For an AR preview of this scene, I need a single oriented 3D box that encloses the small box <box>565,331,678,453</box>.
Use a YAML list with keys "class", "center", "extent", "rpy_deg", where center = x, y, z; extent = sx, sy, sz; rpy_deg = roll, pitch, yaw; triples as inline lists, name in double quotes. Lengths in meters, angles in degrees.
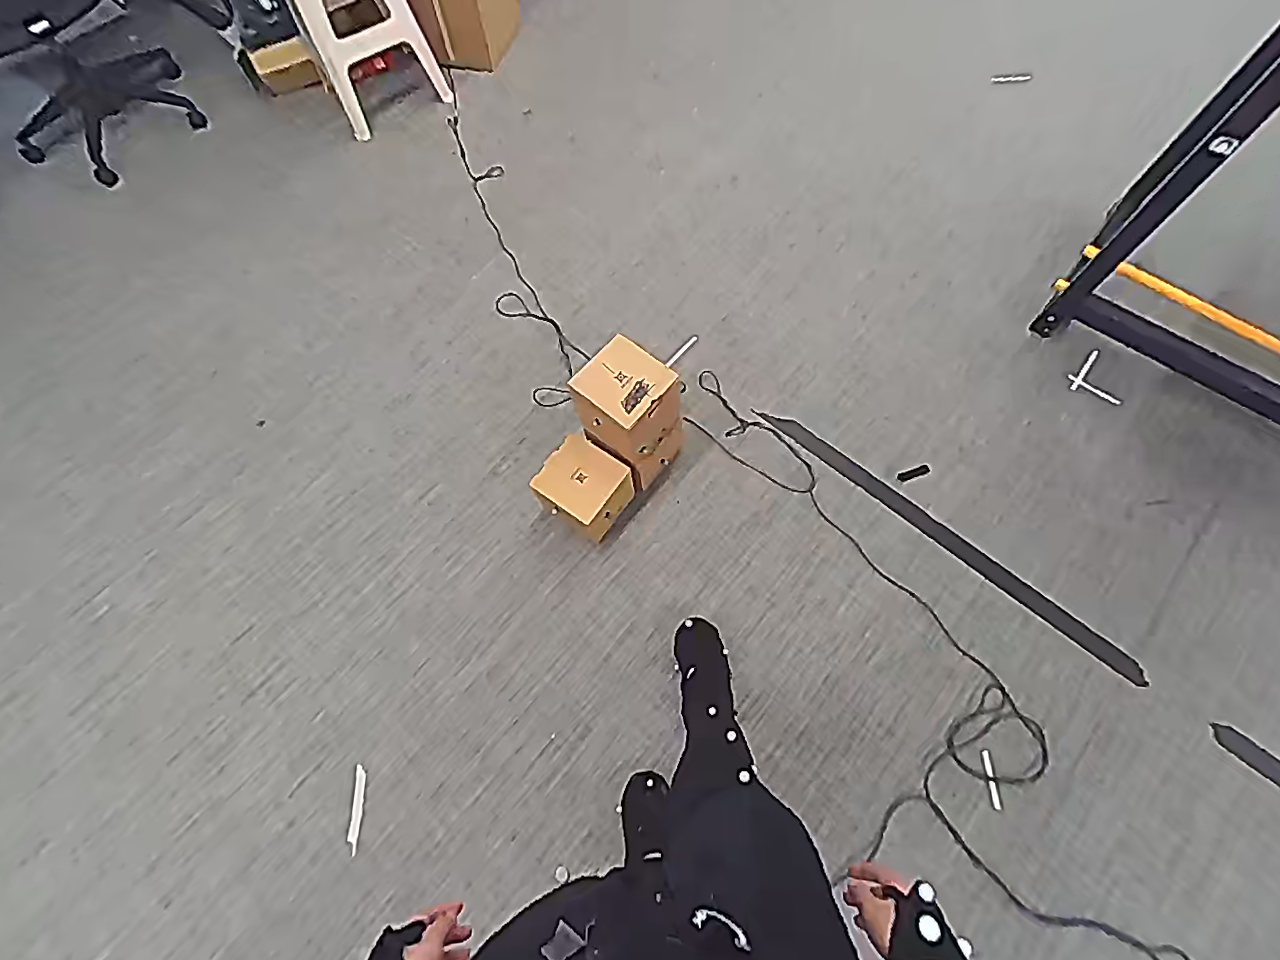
- class: "small box"
  center: [-0.033, -0.181, 1.183]
  extent: [0.179, 0.176, 0.168]
  rpy_deg: [38, 75, 17]
